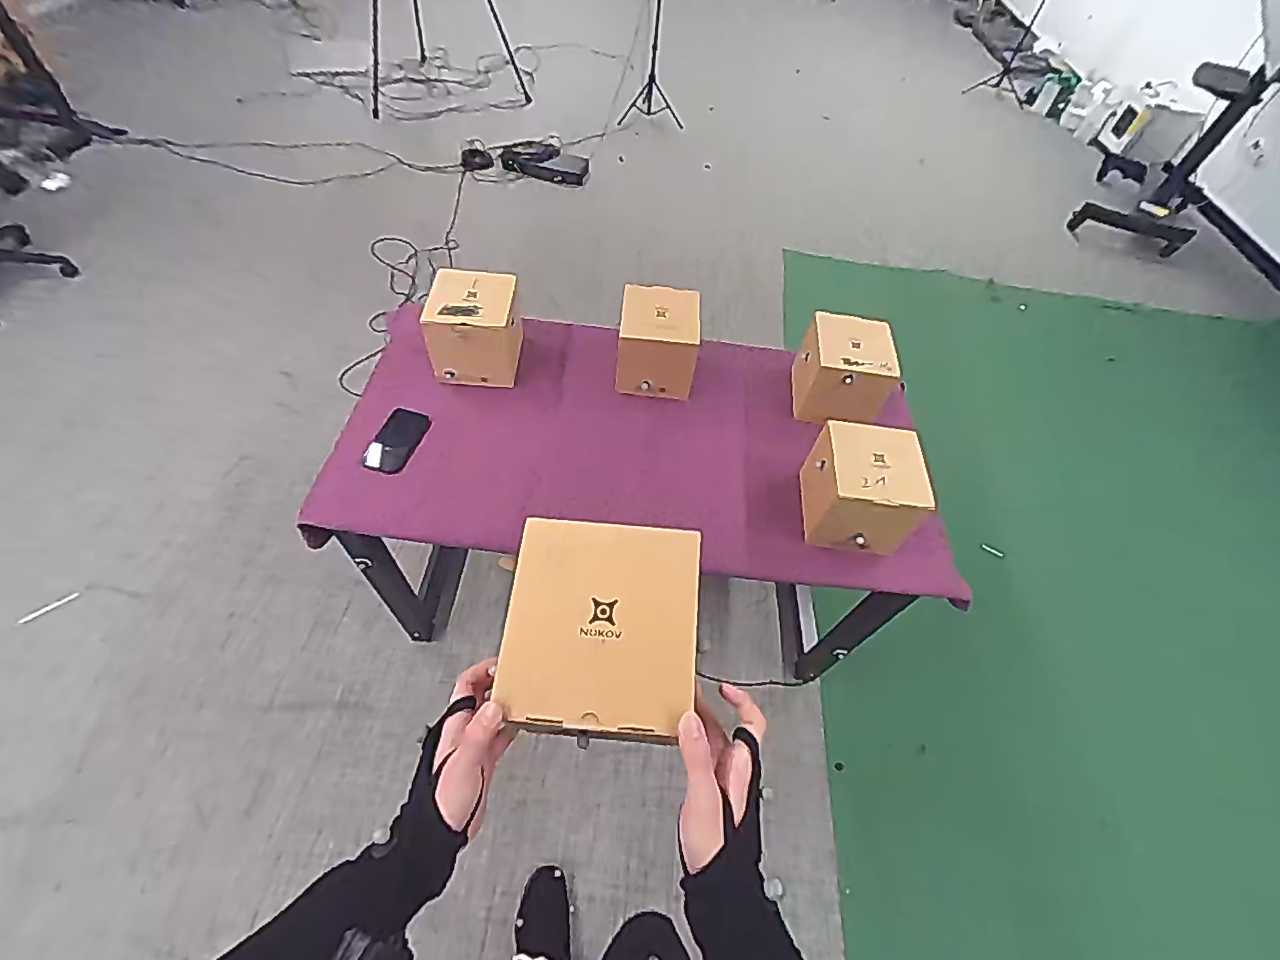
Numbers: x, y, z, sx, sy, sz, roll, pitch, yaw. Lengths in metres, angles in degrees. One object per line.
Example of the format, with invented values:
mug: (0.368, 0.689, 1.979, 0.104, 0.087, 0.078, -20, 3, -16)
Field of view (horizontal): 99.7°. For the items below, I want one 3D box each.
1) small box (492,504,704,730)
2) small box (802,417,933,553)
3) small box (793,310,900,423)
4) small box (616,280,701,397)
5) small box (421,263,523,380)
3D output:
small box: (-0.033, 0.143, 0.537, 0.168, 0.176, 0.179, 5, 64, 1)
small box: (0.408, 0.011, 1.006, 0.168, 0.176, 0.179, 8, 54, 0)
small box: (0.444, -0.242, 1.194, 0.168, 0.176, 0.179, 9, 54, 0)
small box: (0.038, -0.310, 1.192, 0.168, 0.176, 0.179, 6, 55, -2)
small box: (-0.348, -0.335, 1.159, 0.168, 0.176, 0.179, 4, 54, -5)
